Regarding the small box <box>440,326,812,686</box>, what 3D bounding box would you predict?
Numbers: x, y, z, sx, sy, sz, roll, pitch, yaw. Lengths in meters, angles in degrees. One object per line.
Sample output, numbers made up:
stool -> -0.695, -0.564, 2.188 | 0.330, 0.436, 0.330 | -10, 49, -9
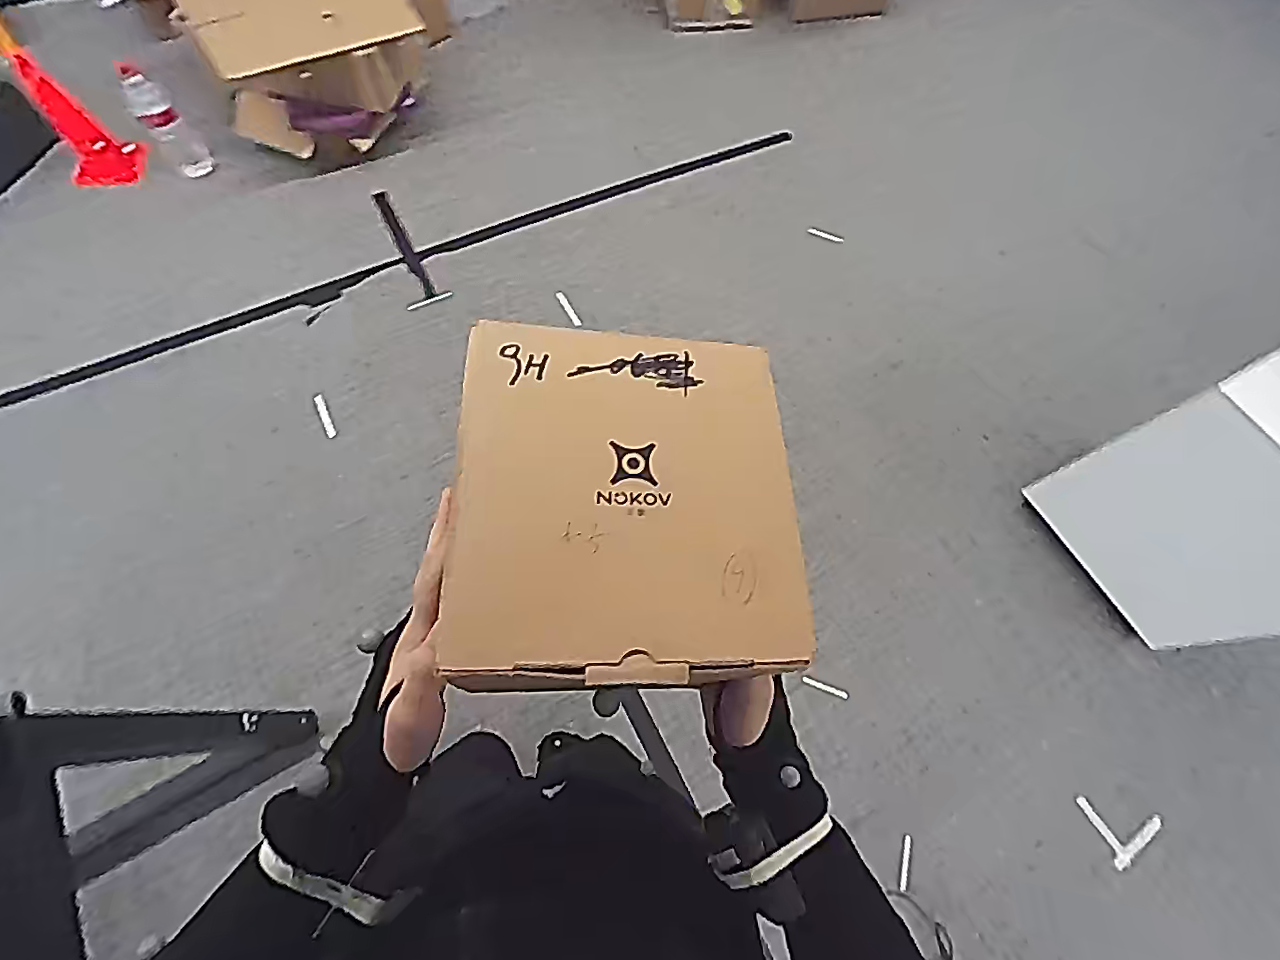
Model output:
small box -> -0.015, 0.034, 0.336 | 0.168, 0.176, 0.179 | 3, 67, -10
